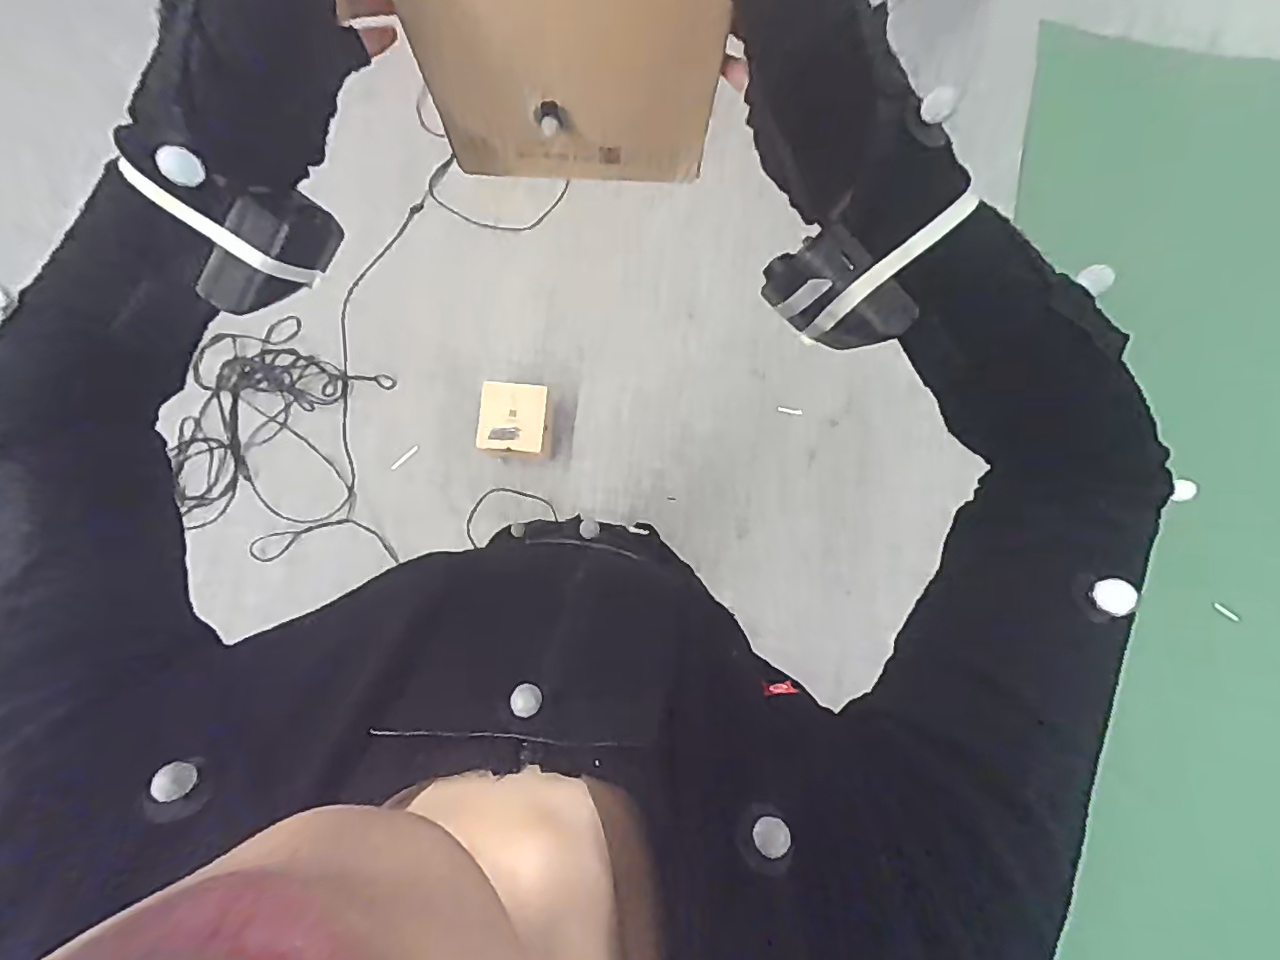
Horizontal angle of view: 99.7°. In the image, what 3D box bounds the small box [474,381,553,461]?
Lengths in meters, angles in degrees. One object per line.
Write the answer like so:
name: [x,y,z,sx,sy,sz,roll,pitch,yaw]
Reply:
small box: [-0.328,-0.149,1.432,0.168,0.176,0.179,5,84,-2]
